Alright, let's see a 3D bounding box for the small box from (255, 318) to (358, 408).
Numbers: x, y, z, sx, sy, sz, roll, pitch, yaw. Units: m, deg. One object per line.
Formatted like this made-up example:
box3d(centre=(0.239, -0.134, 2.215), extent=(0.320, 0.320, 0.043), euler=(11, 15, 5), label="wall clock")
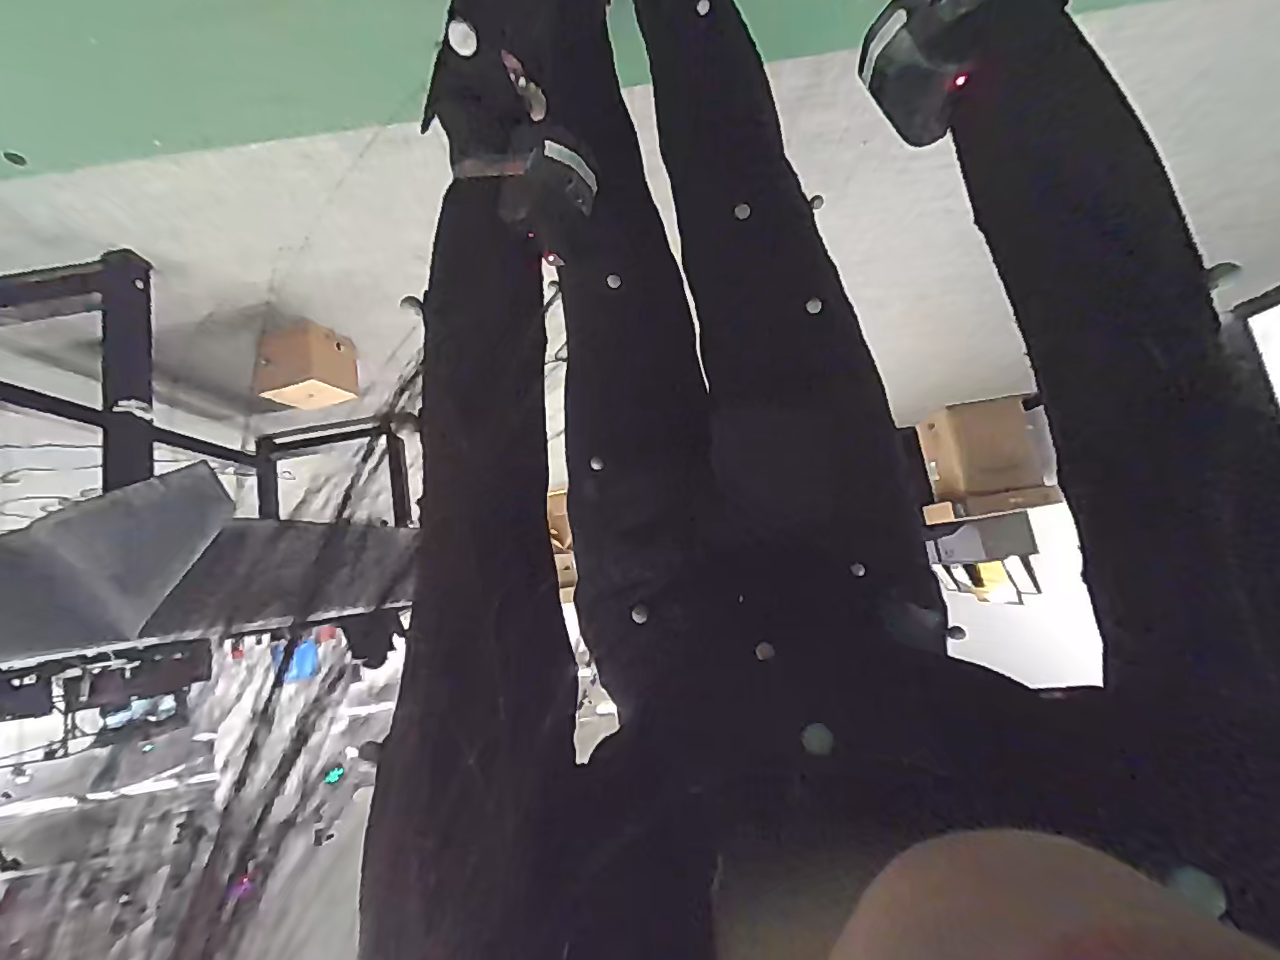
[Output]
box3d(centre=(-0.881, -0.307, 1.434), extent=(0.179, 0.176, 0.168), euler=(-10, 171, 11), label="small box")
